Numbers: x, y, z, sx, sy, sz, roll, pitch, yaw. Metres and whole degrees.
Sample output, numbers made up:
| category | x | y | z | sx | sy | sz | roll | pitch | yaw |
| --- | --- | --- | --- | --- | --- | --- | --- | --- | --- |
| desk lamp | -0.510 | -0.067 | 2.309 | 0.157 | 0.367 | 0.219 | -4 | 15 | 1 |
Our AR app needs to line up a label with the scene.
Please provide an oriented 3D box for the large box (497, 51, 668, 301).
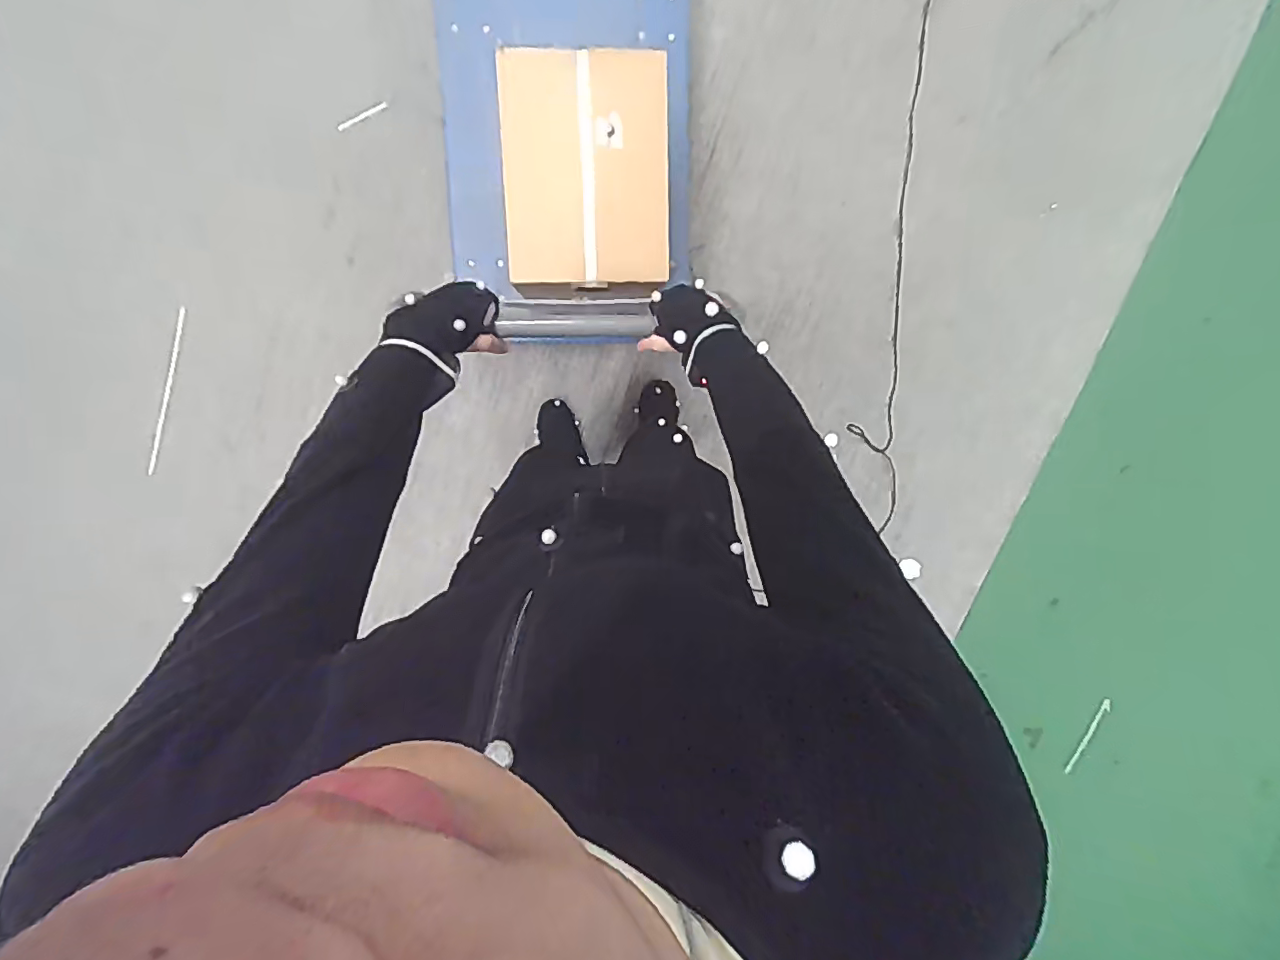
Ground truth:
| category | x | y | z | sx | sy | sz | roll | pitch | yaw |
| --- | --- | --- | --- | --- | --- | --- | --- | --- | --- |
| large box | -0.115 | -0.622 | 1.181 | 0.320 | 0.320 | 0.408 | -2 | 101 | -5 |
